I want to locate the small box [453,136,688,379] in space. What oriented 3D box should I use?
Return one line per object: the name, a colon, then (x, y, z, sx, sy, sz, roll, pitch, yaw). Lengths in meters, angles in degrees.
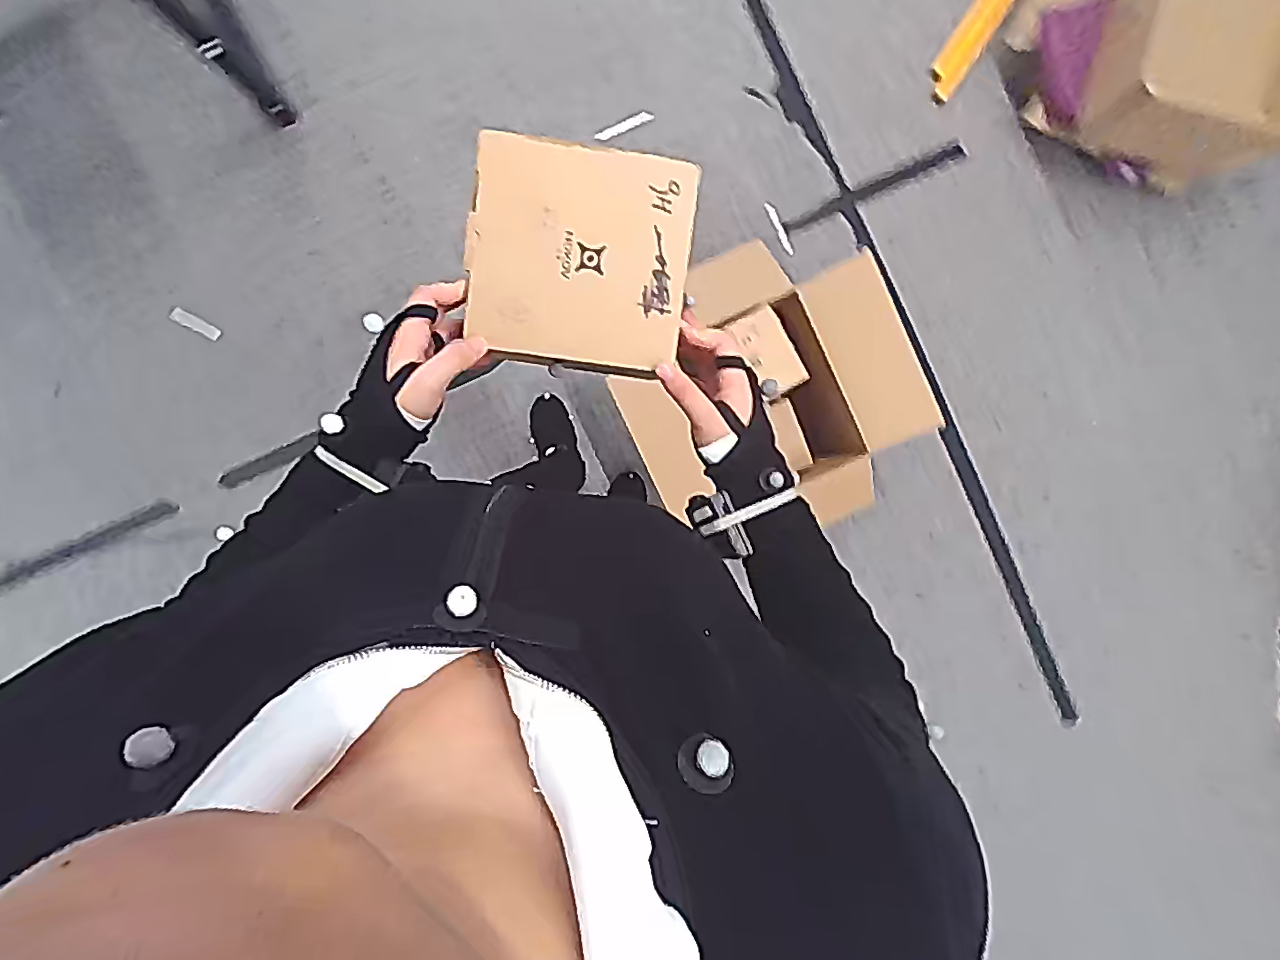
small box: (-0.059, -0.189, 0.512, 0.179, 0.176, 0.168, 6, 98, -3)
